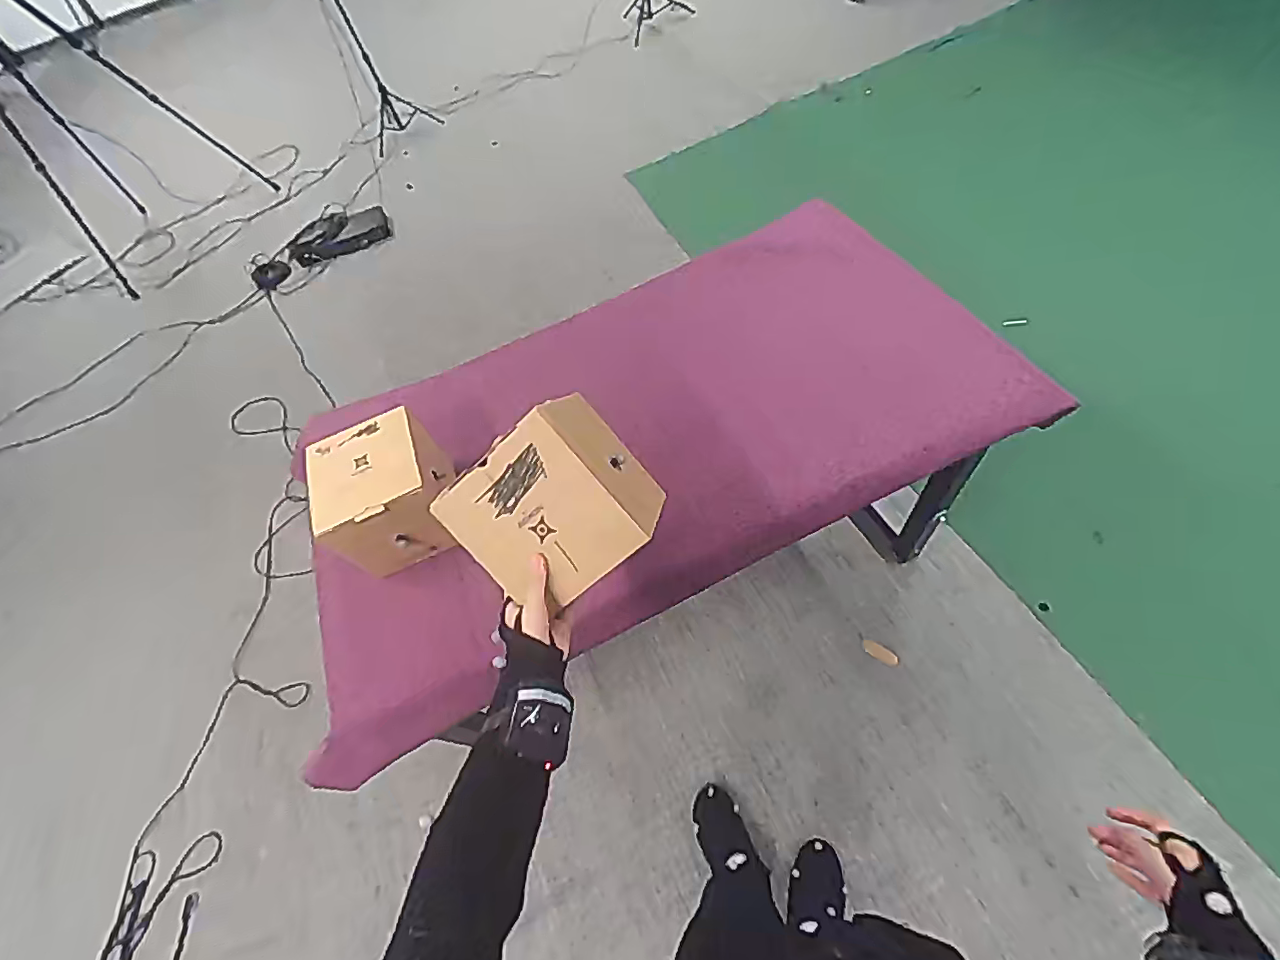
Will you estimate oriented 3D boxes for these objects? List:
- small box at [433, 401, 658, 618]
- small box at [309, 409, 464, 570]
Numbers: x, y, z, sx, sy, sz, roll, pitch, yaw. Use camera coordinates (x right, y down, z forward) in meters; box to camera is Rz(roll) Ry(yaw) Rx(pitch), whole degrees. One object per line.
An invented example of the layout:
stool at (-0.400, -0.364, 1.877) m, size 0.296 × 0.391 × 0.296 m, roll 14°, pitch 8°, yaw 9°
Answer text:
small box at (-0.096, 0.021, 0.638) m, size 0.168 × 0.176 × 0.179 m, roll -39°, pitch 96°, yaw 14°
small box at (-0.395, 0.026, 0.869) m, size 0.168 × 0.176 × 0.179 m, roll -25°, pitch 58°, yaw -4°
